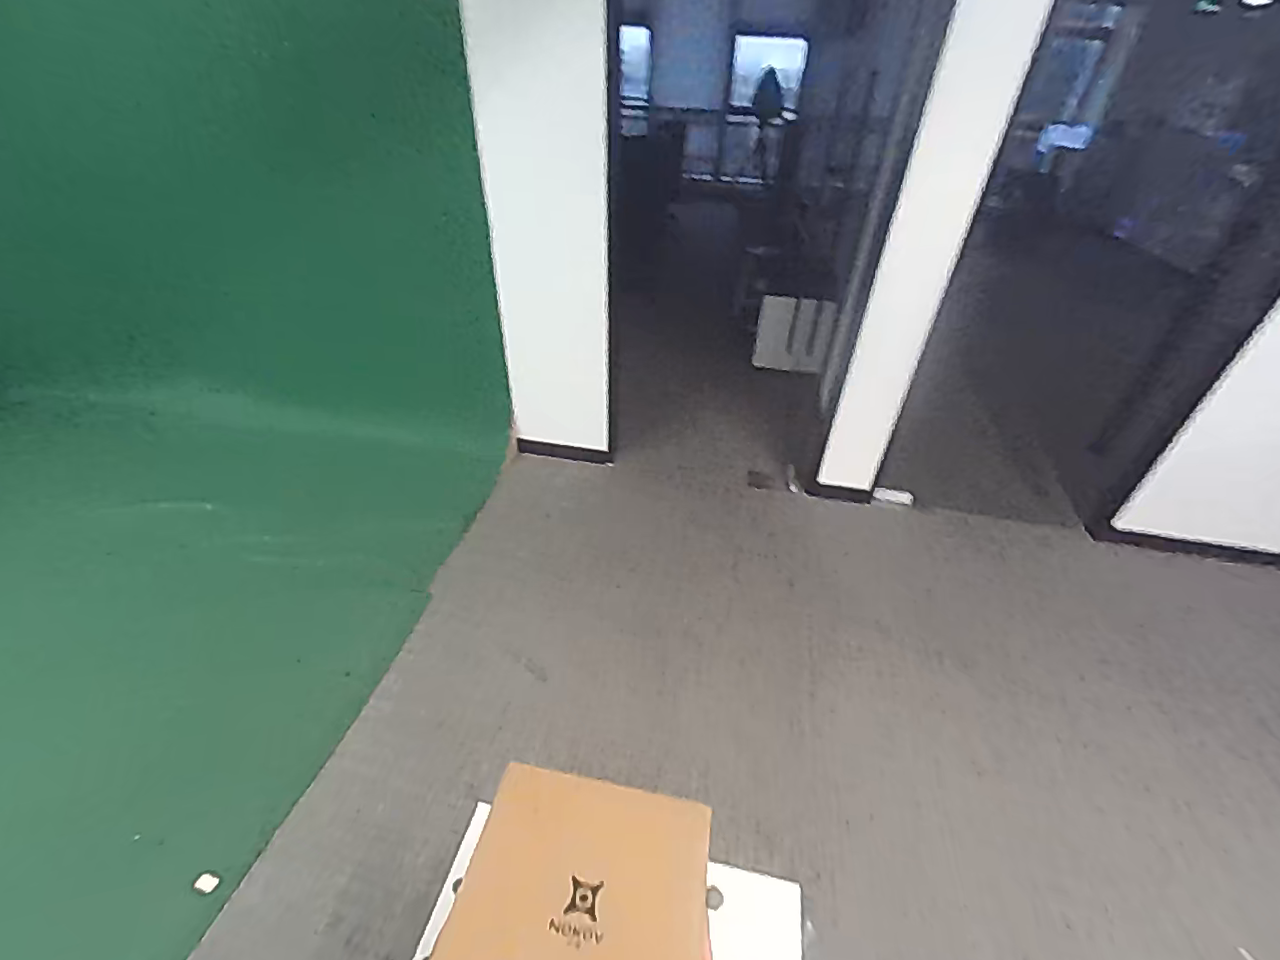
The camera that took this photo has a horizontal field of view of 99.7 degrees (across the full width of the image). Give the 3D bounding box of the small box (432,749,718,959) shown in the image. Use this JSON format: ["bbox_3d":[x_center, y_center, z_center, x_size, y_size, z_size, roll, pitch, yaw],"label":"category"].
[{"bbox_3d":[-0.041,0.341,0.398,0.168,0.176,0.179,9,33,7],"label":"small box"}]
